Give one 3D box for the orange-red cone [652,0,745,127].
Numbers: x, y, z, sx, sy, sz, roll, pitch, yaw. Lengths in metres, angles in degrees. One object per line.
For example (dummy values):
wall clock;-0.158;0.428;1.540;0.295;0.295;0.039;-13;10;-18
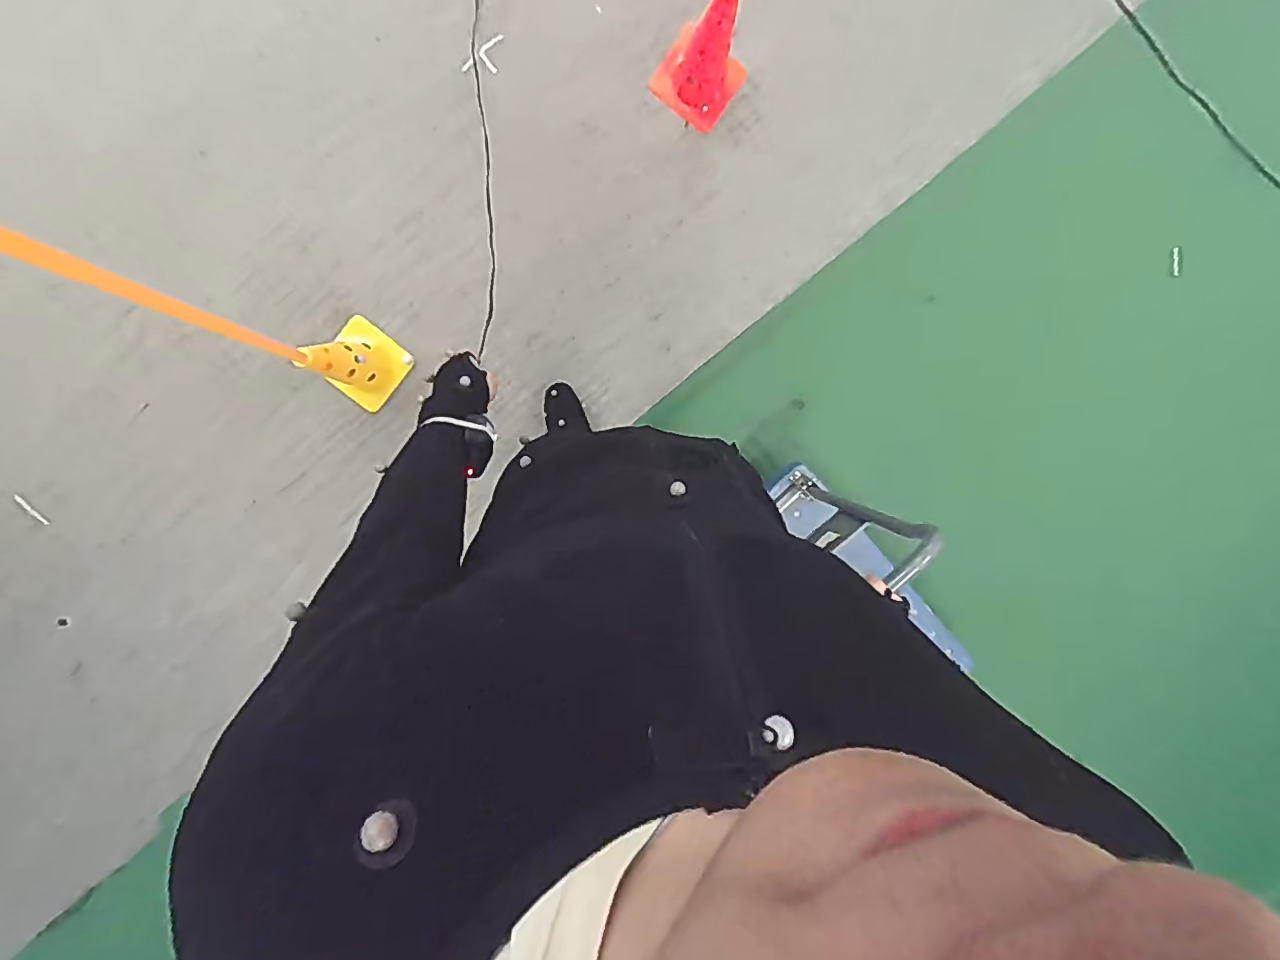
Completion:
orange-red cone;0.175;-1.048;1.268;0.198;0.360;0.199;35;94;-11
